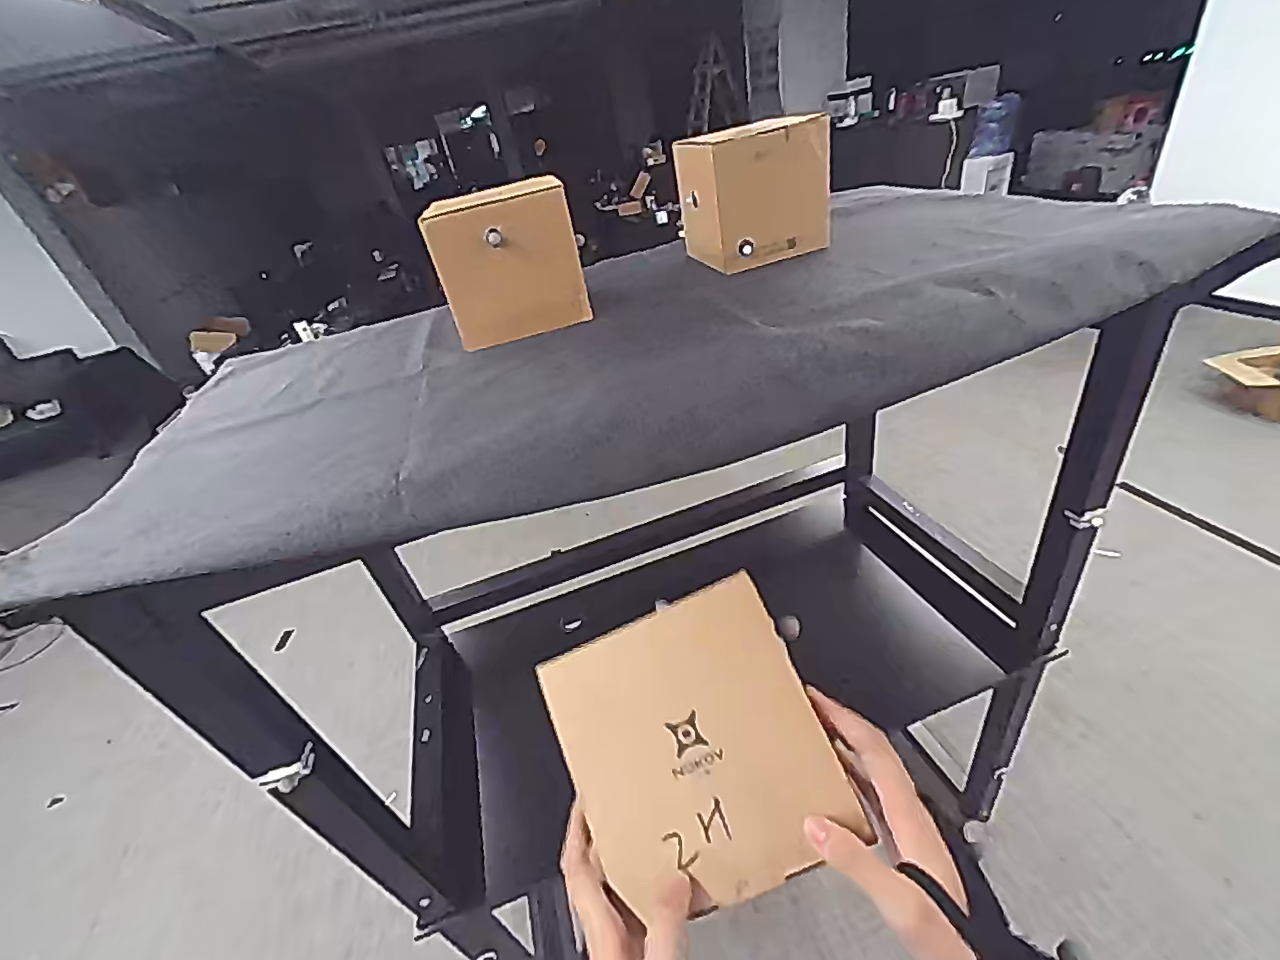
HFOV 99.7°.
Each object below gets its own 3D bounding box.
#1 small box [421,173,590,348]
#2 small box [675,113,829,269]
[{"bbox_3d":[-0.172,-0.302,0.739,0.179,0.176,0.168,-16,35,-4],"label":"small box"},{"bbox_3d":[0.166,-0.426,0.806,0.168,0.176,0.179,-17,34,-6],"label":"small box"}]
